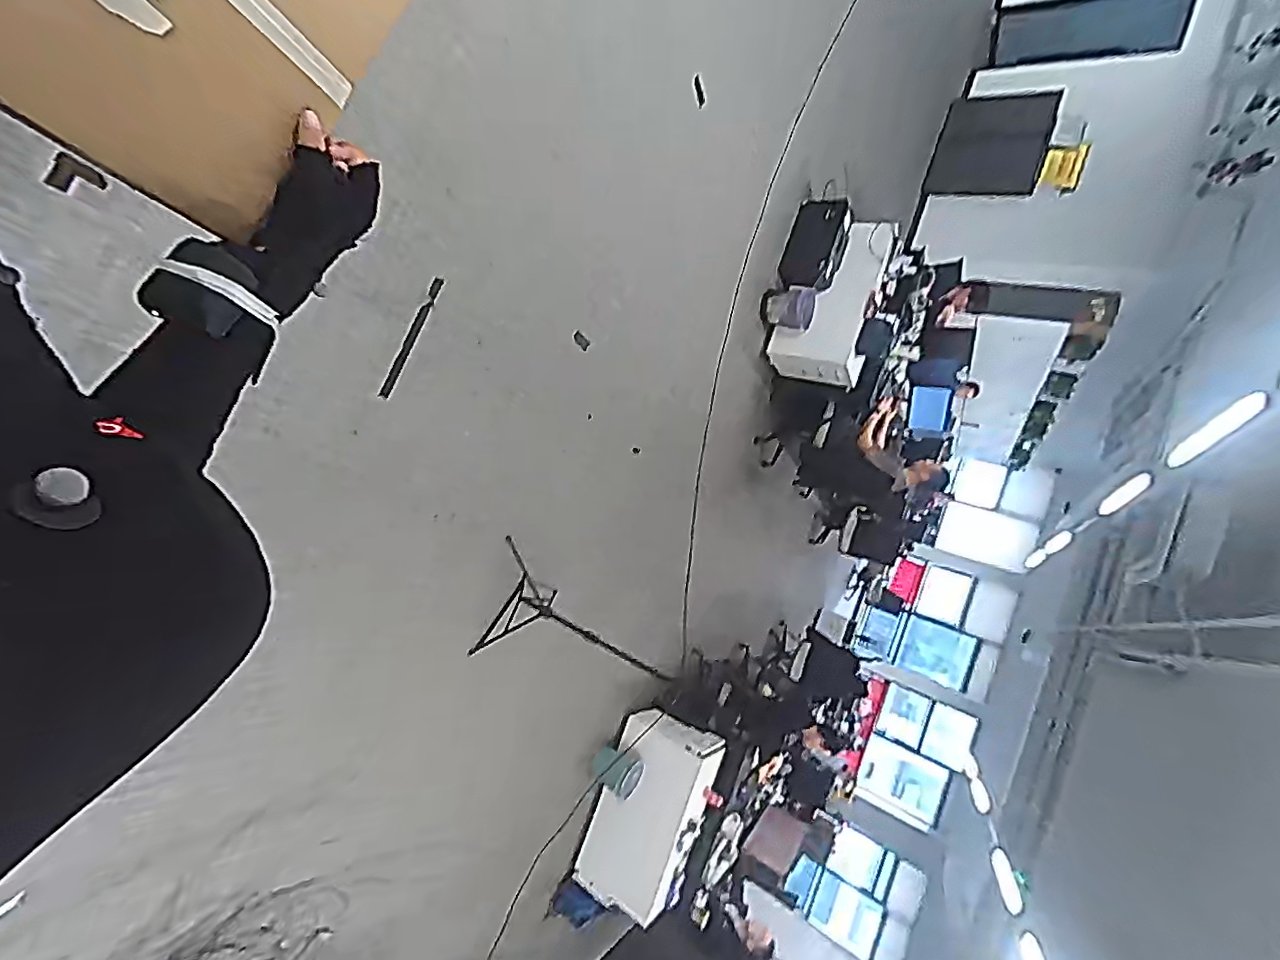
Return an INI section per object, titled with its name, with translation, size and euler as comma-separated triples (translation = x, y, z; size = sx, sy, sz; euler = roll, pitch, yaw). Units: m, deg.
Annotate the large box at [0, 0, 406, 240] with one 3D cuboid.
[large box]
translation = -0.454, -0.452, 0.376
size = 0.320, 0.320, 0.408
euler = -58, 150, -1
